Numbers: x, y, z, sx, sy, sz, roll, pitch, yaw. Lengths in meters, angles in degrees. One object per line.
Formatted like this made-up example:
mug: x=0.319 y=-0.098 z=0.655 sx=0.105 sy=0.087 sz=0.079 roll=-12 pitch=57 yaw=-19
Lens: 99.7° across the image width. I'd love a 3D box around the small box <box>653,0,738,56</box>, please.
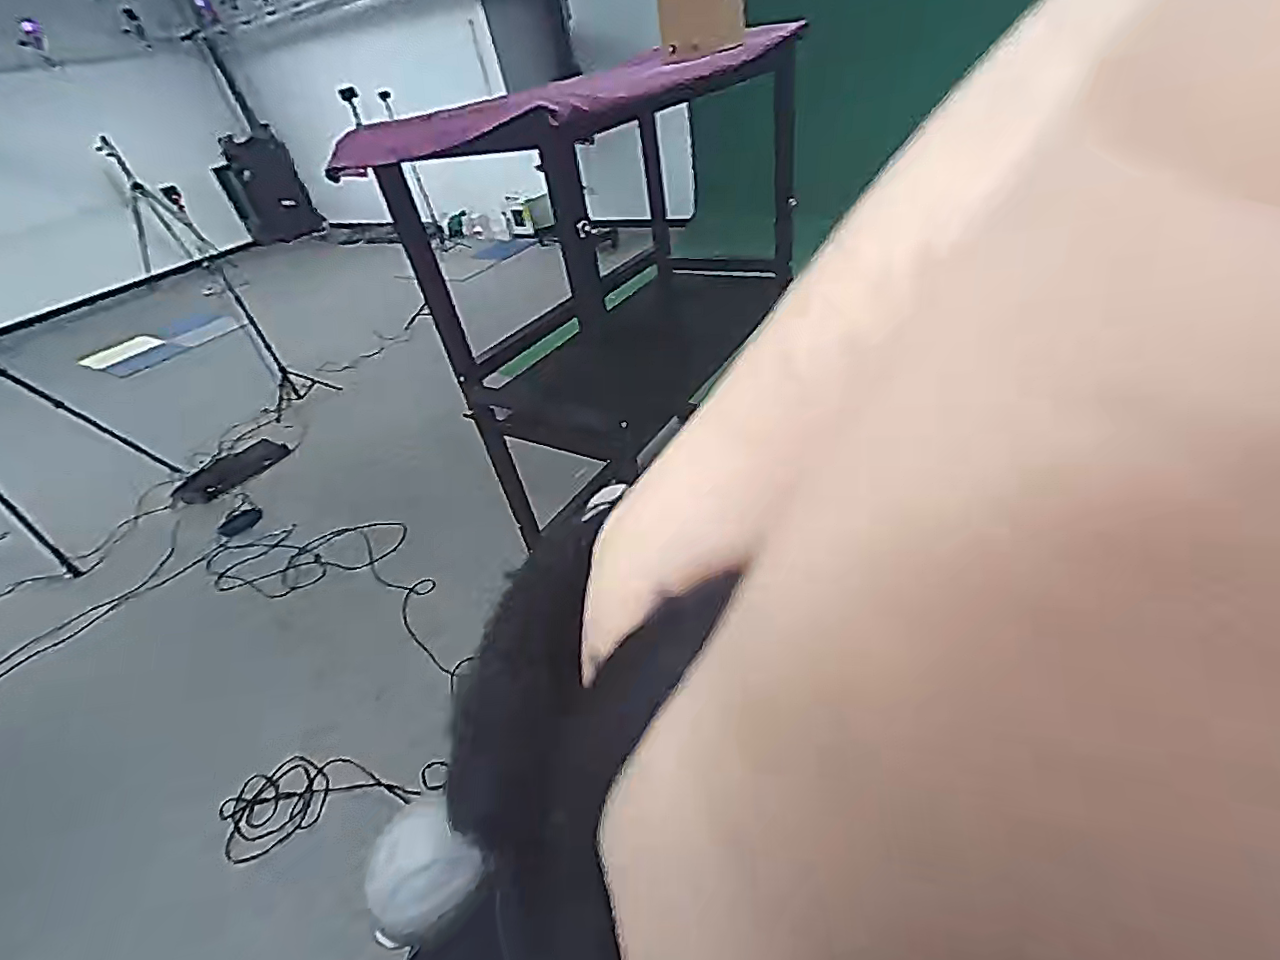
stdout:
small box: x=0.153 y=-1.259 z=1.444 sx=0.168 sy=0.176 sz=0.179 roll=15 pitch=46 yaw=32
